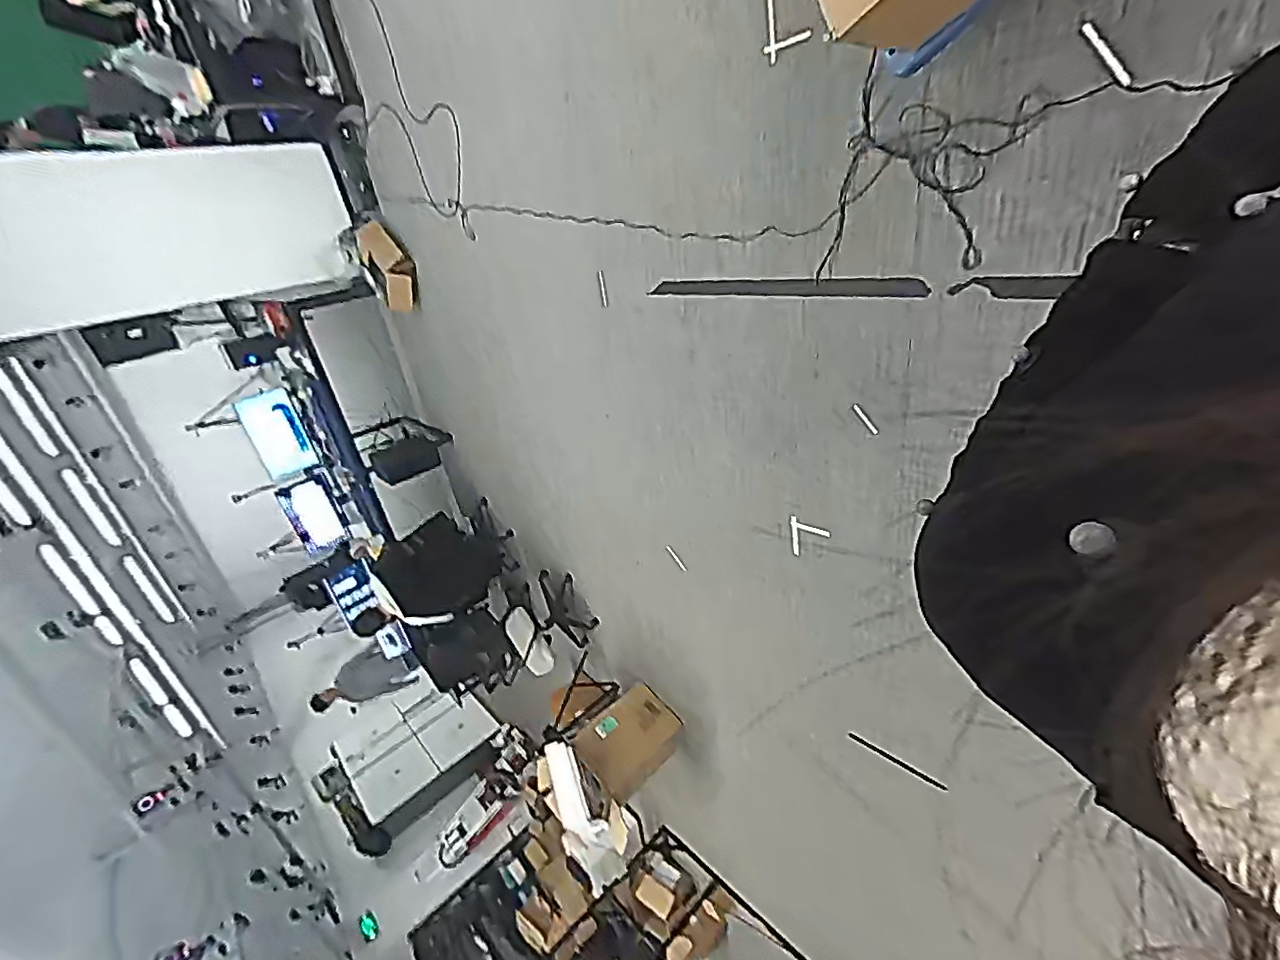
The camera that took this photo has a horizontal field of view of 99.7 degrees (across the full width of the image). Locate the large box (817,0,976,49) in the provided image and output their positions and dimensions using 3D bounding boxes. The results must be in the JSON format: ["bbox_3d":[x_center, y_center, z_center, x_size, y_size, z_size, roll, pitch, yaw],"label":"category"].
[{"bbox_3d":[0.471,-0.932,0.780,0.408,0.320,0.320,-14,101,55],"label":"large box"}]
